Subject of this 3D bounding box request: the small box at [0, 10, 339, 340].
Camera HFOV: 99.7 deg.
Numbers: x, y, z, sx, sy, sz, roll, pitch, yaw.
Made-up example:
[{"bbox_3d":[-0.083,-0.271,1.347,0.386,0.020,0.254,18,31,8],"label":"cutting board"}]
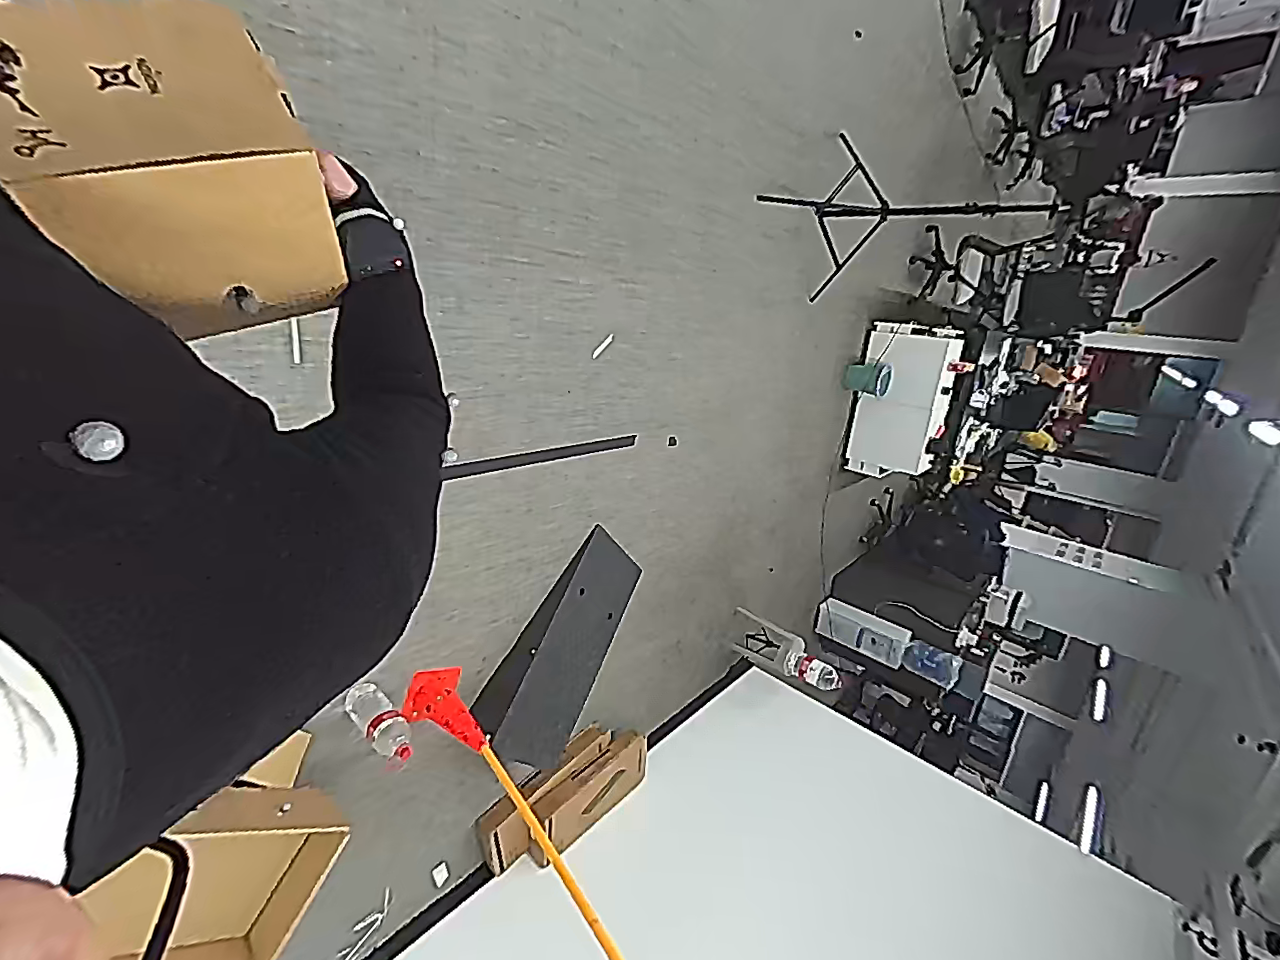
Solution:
[{"bbox_3d":[-0.380,-0.250,0.460,0.179,0.168,0.176,-25,166,-26],"label":"small box"}]
